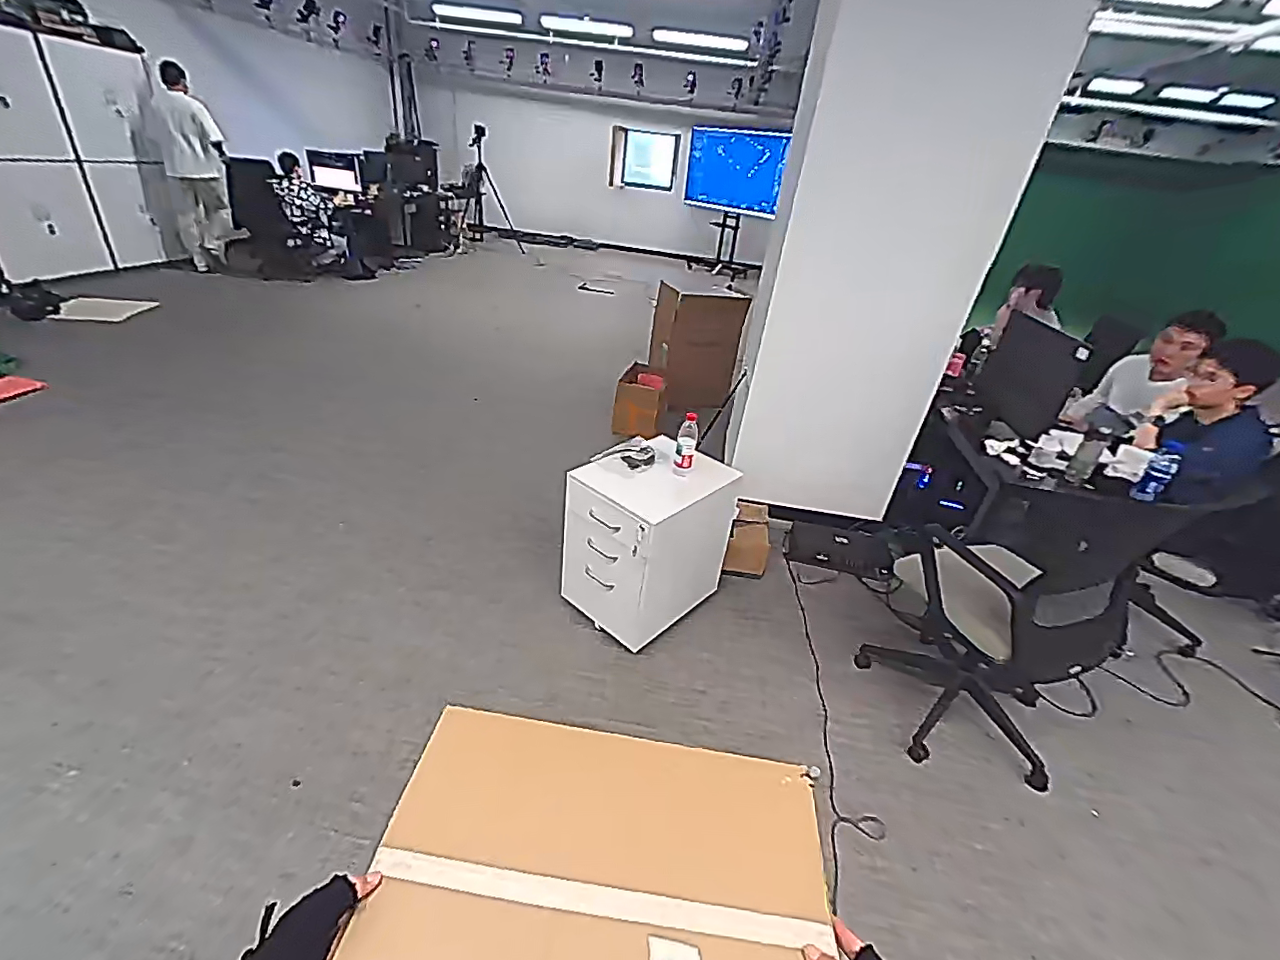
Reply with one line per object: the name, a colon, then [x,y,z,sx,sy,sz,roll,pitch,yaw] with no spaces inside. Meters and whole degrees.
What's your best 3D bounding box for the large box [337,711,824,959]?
large box: [-0.055,0.494,0.559,0.408,0.320,0.320,9,33,2]
